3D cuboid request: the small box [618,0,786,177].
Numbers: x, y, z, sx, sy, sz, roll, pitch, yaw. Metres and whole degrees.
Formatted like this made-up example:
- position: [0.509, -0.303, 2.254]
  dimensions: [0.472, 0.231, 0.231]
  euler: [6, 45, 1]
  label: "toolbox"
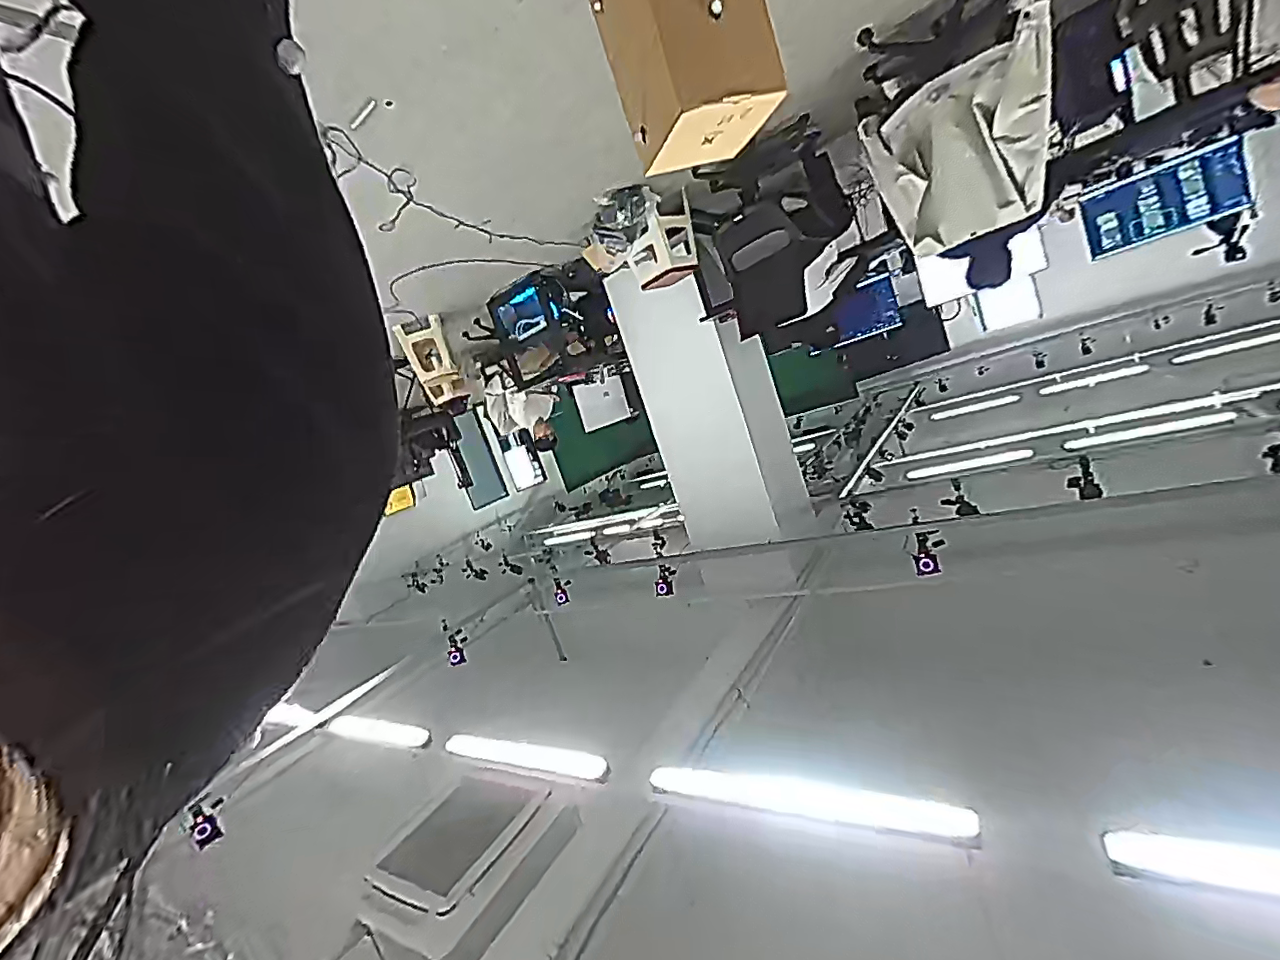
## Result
- position: [0.079, -0.580, 0.784]
  dimensions: [0.168, 0.176, 0.179]
  euler: [-21, -171, -14]
  label: "small box"
